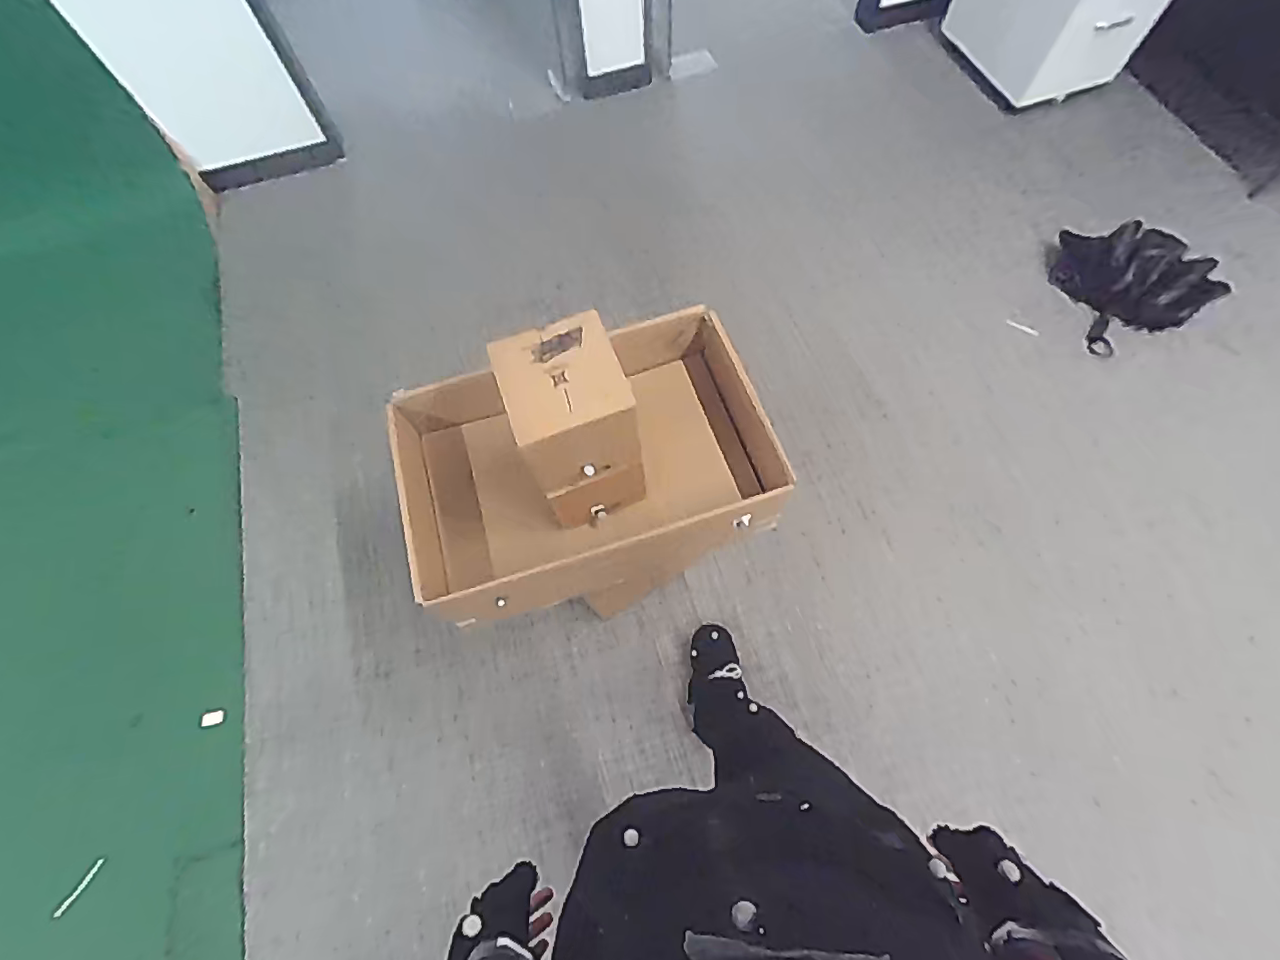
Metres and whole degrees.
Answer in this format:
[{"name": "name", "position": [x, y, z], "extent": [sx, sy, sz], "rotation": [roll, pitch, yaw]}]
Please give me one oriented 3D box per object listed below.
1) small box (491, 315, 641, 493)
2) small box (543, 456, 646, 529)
[{"name": "small box", "position": [-0.104, -0.107, 0.809], "extent": [0.168, 0.176, 0.179], "rotation": [-20, 67, -5]}, {"name": "small box", "position": [-0.096, -0.038, 0.957], "extent": [0.168, 0.176, 0.179], "rotation": [-22, 67, -6]}]
